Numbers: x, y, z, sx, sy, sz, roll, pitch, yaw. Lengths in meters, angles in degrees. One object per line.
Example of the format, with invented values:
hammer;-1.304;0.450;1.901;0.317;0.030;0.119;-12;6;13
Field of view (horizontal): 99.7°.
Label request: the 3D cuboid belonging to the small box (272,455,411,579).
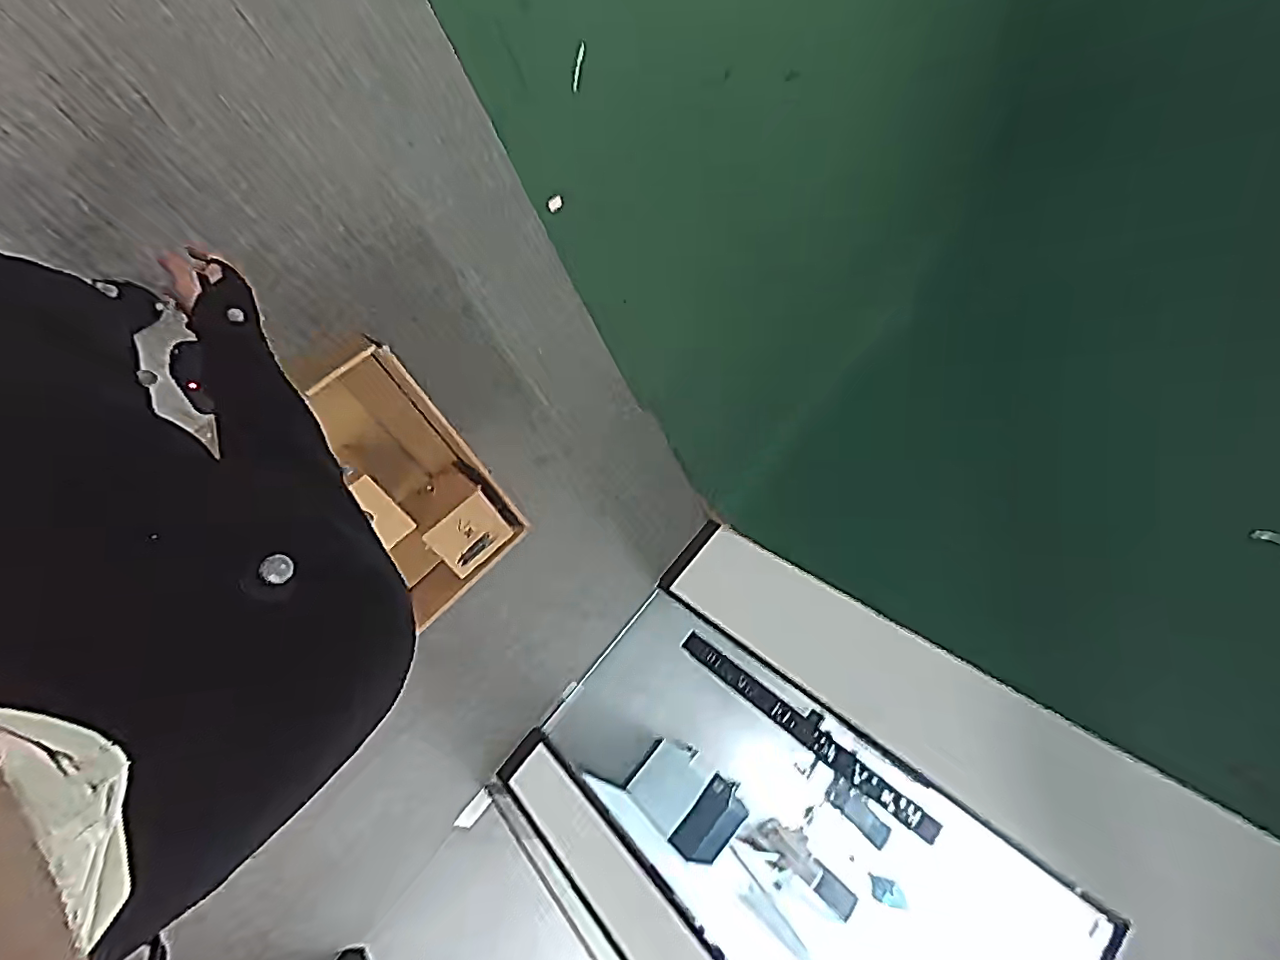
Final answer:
small box;-0.627;0.068;1.133;0.168;0.176;0.179;-42;137;-18
